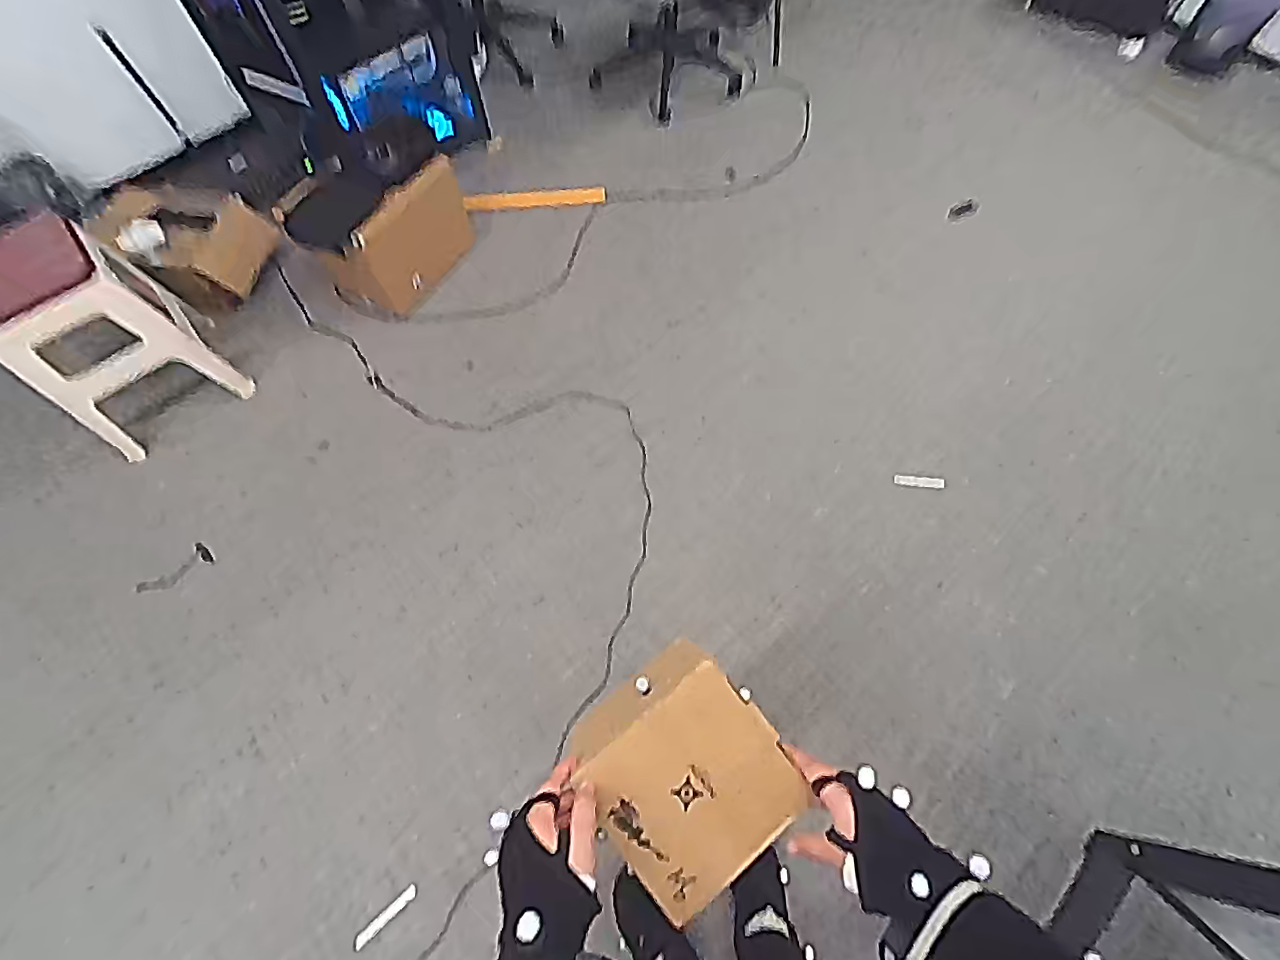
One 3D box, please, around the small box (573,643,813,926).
[{"bbox_3d":[0.042,0.297,0.580,0.179,0.176,0.168,-37,86,-11],"label":"small box"}]
